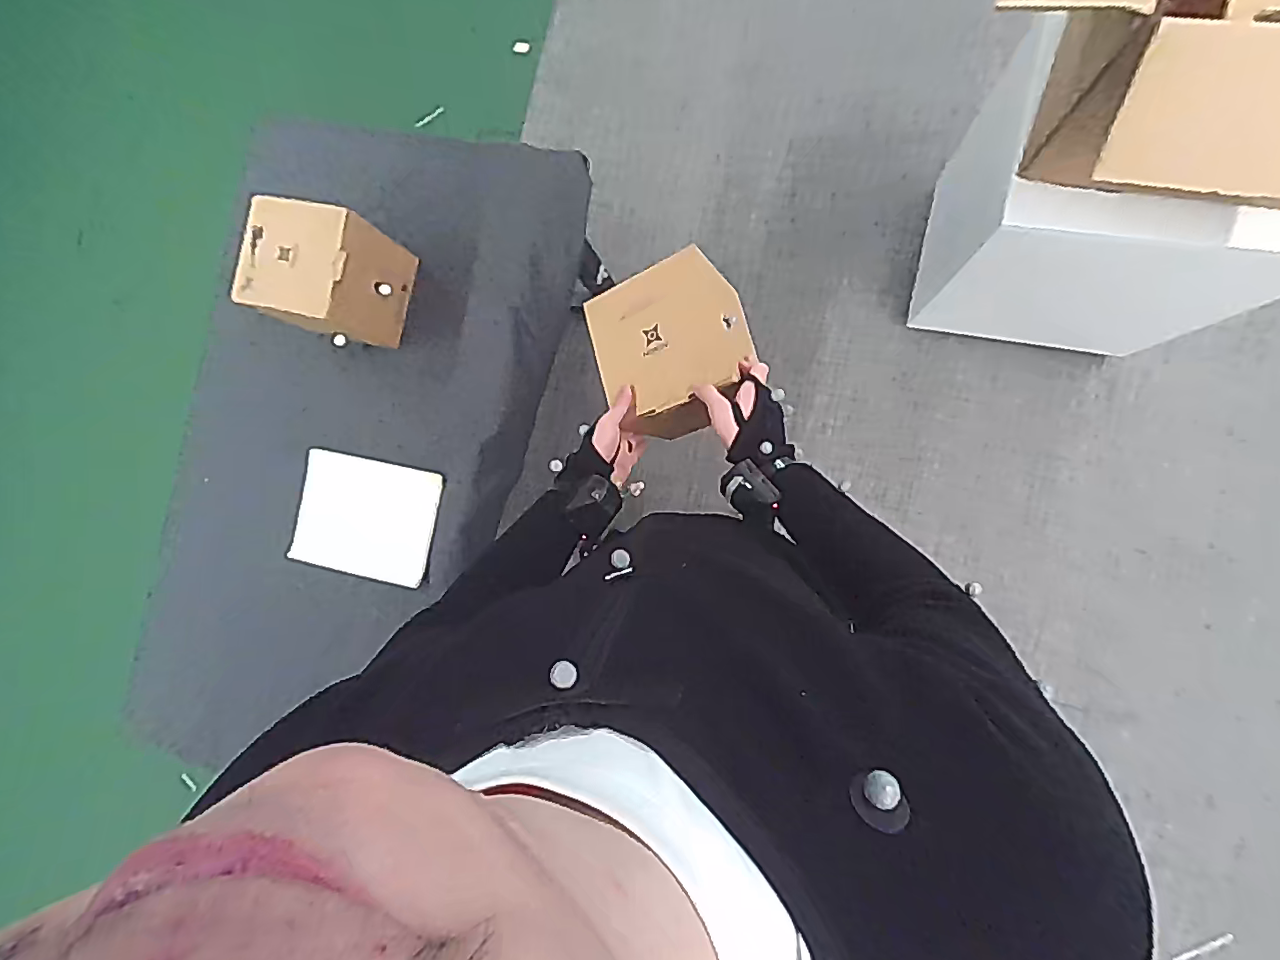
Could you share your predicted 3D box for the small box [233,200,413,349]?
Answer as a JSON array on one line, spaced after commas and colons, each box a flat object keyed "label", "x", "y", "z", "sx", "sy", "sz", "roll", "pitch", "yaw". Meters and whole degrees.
[{"label": "small box", "x": -0.503, "y": -0.323, "z": 0.882, "sx": 0.179, "sy": 0.176, "sz": 0.168, "roll": 14, "pitch": 91, "yaw": 10}]

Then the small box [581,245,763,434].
[{"label": "small box", "x": 0.050, "y": -0.168, "z": 0.721, "sx": 0.168, "sy": 0.176, "sz": 0.179, "roll": -20, "pitch": 77, "yaw": 25}]
